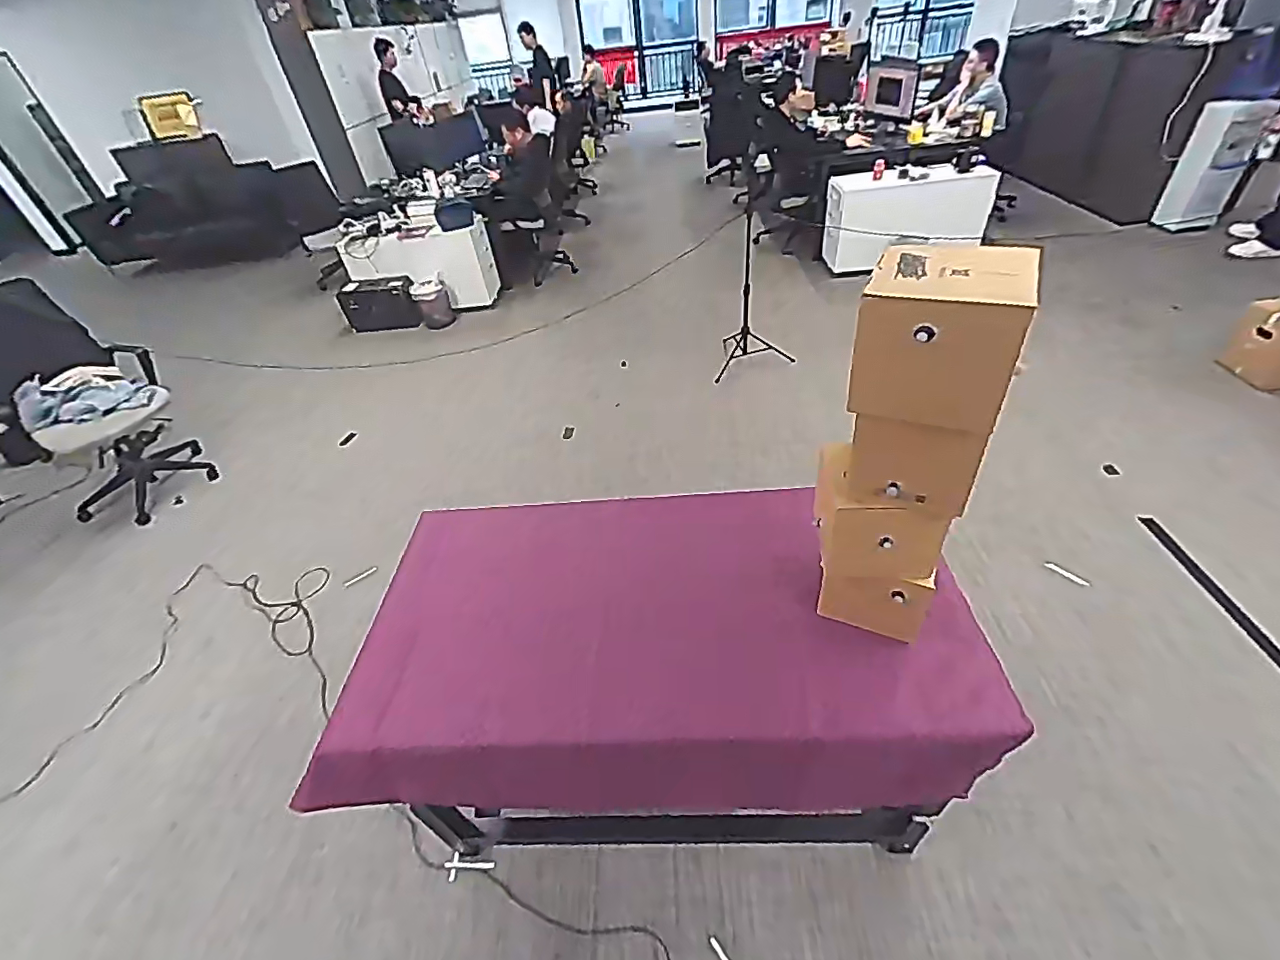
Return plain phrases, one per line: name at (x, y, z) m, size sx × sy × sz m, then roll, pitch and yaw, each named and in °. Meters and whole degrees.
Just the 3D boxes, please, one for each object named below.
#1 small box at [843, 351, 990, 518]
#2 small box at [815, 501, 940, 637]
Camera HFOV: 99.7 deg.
small box at (0.408, -0.072, 0.814) m, size 0.168 × 0.176 × 0.179 m, roll 10°, pitch 45°, yaw 22°
small box at (0.447, 0.171, 1.030) m, size 0.179 × 0.176 × 0.168 m, roll 14°, pitch 45°, yaw 24°
